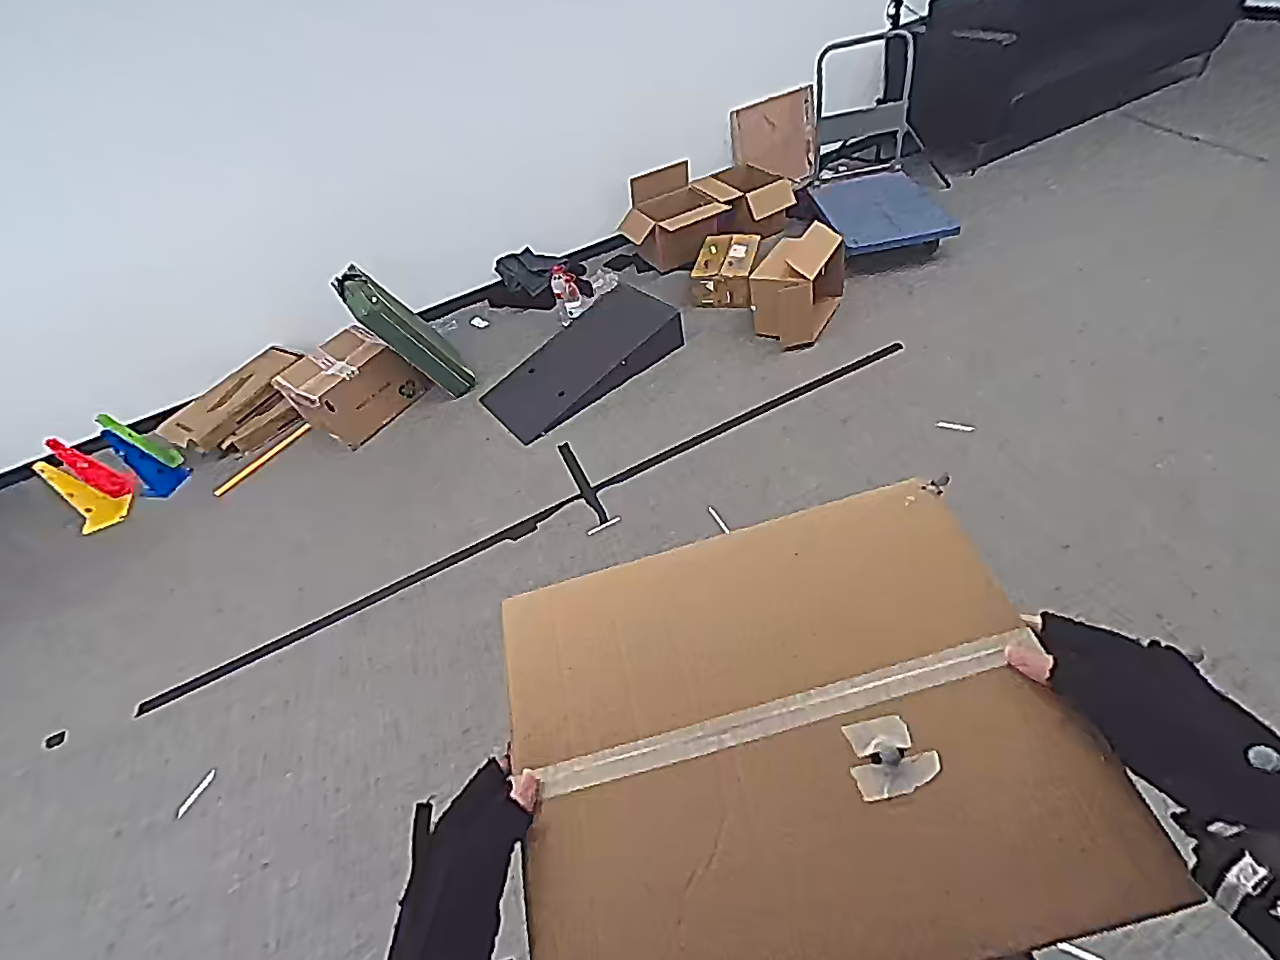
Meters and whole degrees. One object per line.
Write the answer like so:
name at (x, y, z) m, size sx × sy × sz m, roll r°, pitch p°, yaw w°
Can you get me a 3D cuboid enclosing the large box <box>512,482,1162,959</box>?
large box at (0.128, 0.261, 0.543) m, size 0.408 × 0.320 × 0.320 m, roll -17°, pitch 56°, yaw 1°
